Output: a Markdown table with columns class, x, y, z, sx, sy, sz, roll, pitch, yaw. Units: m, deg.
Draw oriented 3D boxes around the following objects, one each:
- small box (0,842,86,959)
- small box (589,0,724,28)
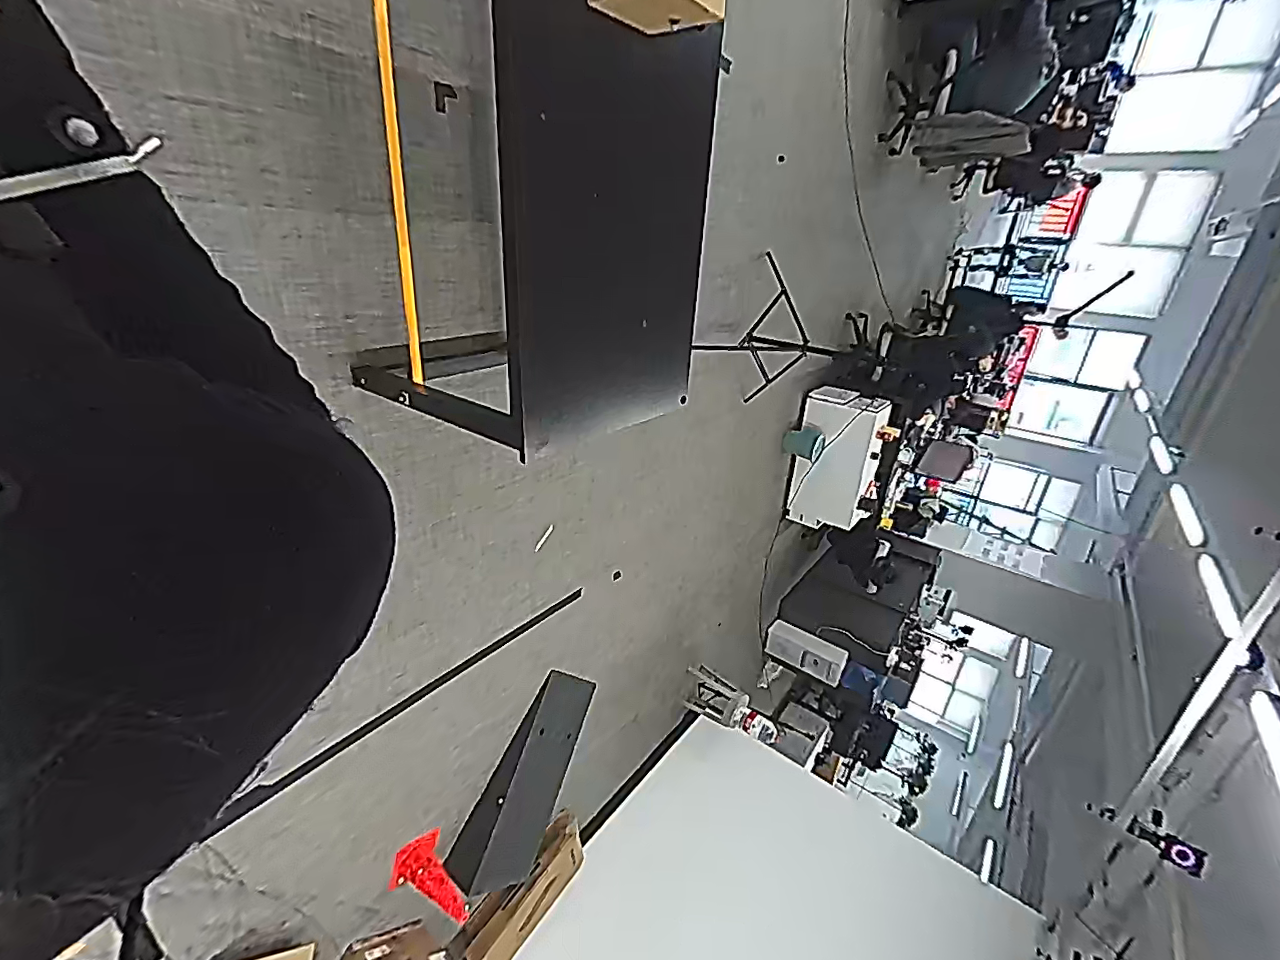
| class | x | y | z | sx | sy | sz | roll | pitch | yaw |
| --- | --- | --- | --- | --- | --- | --- | --- | --- | --- |
| small box | -1.226 | 0.859 | 1.047 | 0.168 | 0.176 | 0.179 | -23 | 125 | -48 |
| small box | 0.030 | -0.868 | 0.880 | 0.179 | 0.176 | 0.168 | -27 | 127 | -46 |
